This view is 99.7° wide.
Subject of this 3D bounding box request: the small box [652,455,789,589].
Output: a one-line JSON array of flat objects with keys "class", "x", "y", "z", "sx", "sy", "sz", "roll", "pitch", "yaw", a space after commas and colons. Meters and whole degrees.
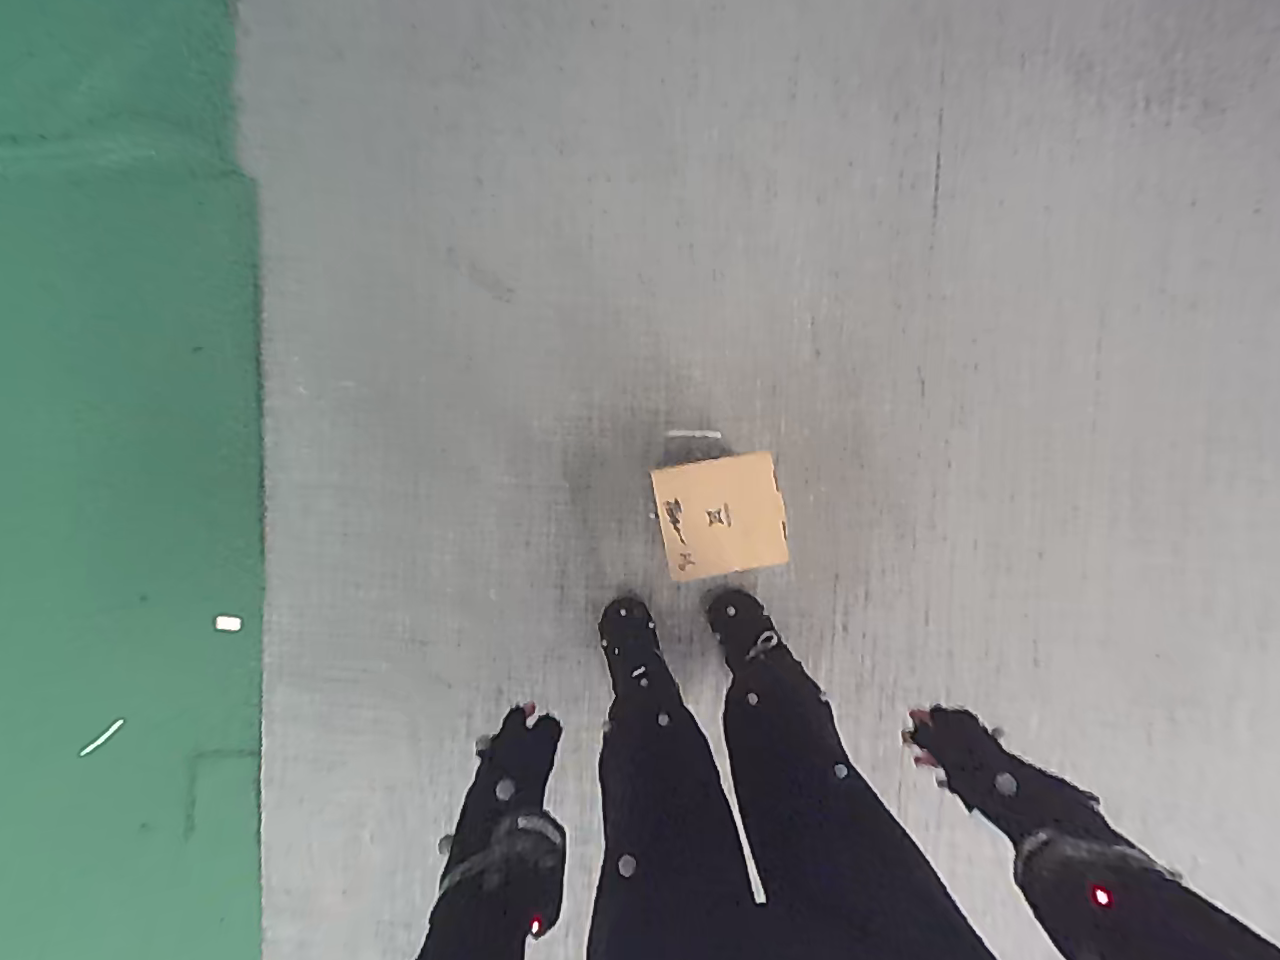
[{"class": "small box", "x": 0.118, "y": 0.057, "z": 0.859, "sx": 0.179, "sy": 0.176, "sz": 0.168, "roll": -13, "pitch": 93, "yaw": 3}]
